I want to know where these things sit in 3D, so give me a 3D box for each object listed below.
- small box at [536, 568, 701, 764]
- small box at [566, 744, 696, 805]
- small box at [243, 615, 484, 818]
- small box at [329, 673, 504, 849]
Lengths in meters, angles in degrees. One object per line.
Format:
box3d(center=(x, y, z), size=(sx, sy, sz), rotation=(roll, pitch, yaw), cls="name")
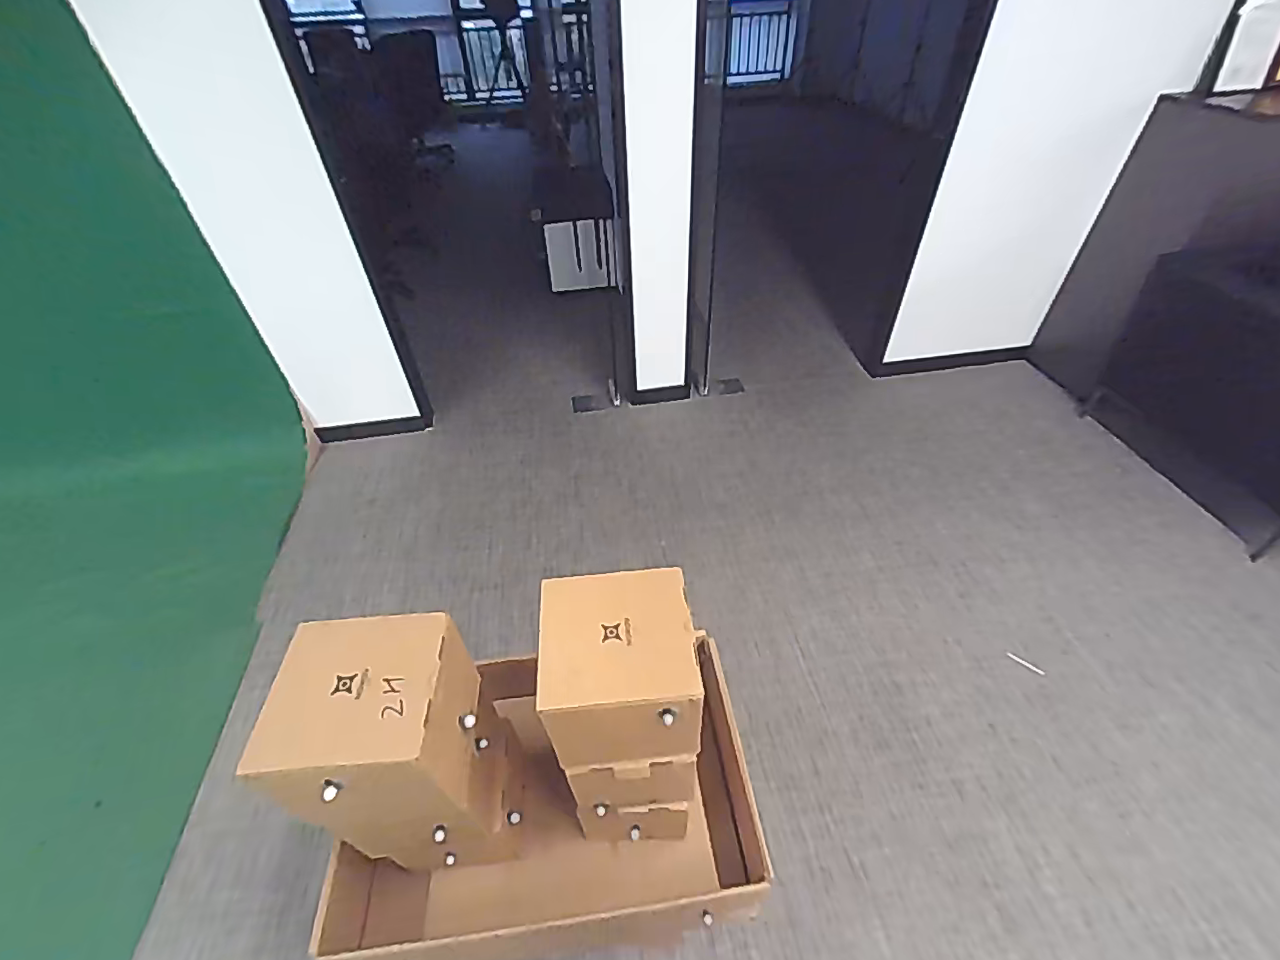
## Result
box3d(center=(-0.023, 0.232, 0.669), size=(0.179, 0.176, 0.168), rotation=(-5, 44, -2), cls="small box")
box3d(center=(-0.010, 0.350, 0.780), size=(0.168, 0.176, 0.179), rotation=(-5, 43, -1), cls="small box")
box3d(center=(-0.300, 0.280, 0.636), size=(0.179, 0.176, 0.168), rotation=(-4, 44, -1), cls="small box")
box3d(center=(-0.293, 0.393, 0.755), size=(0.168, 0.176, 0.179), rotation=(-6, 43, -3), cls="small box")
